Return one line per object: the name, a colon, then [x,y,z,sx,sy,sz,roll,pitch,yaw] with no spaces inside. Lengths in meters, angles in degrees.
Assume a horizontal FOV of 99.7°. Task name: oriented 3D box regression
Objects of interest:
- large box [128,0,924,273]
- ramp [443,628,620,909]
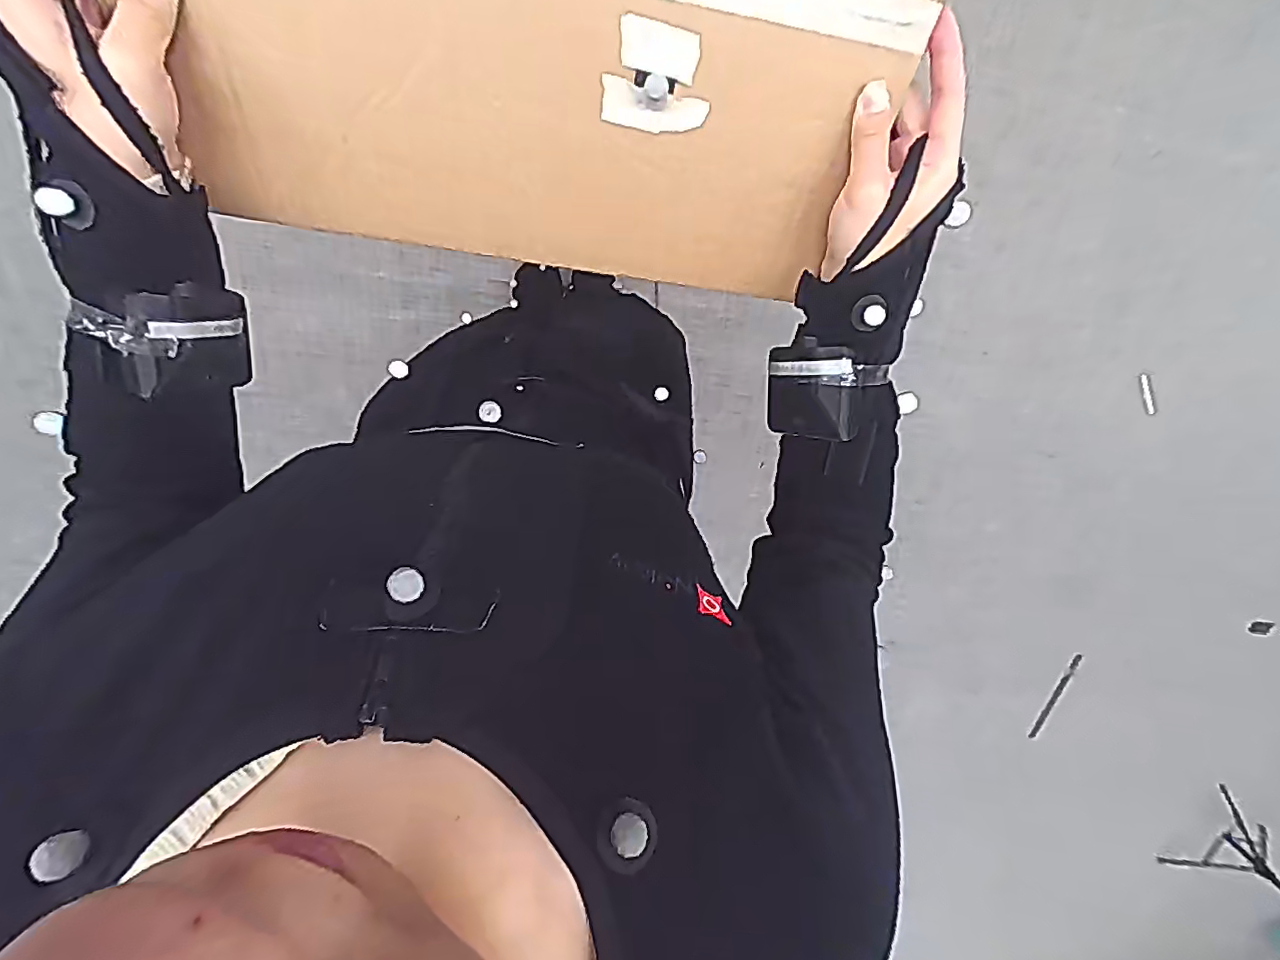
large box: [-0.055,-0.374,0.353,0.408,0.320,0.320,5,138,-9]
ramp: [-0.354,0.932,1.705,0.509,0.206,0.991,3,112,-7]
